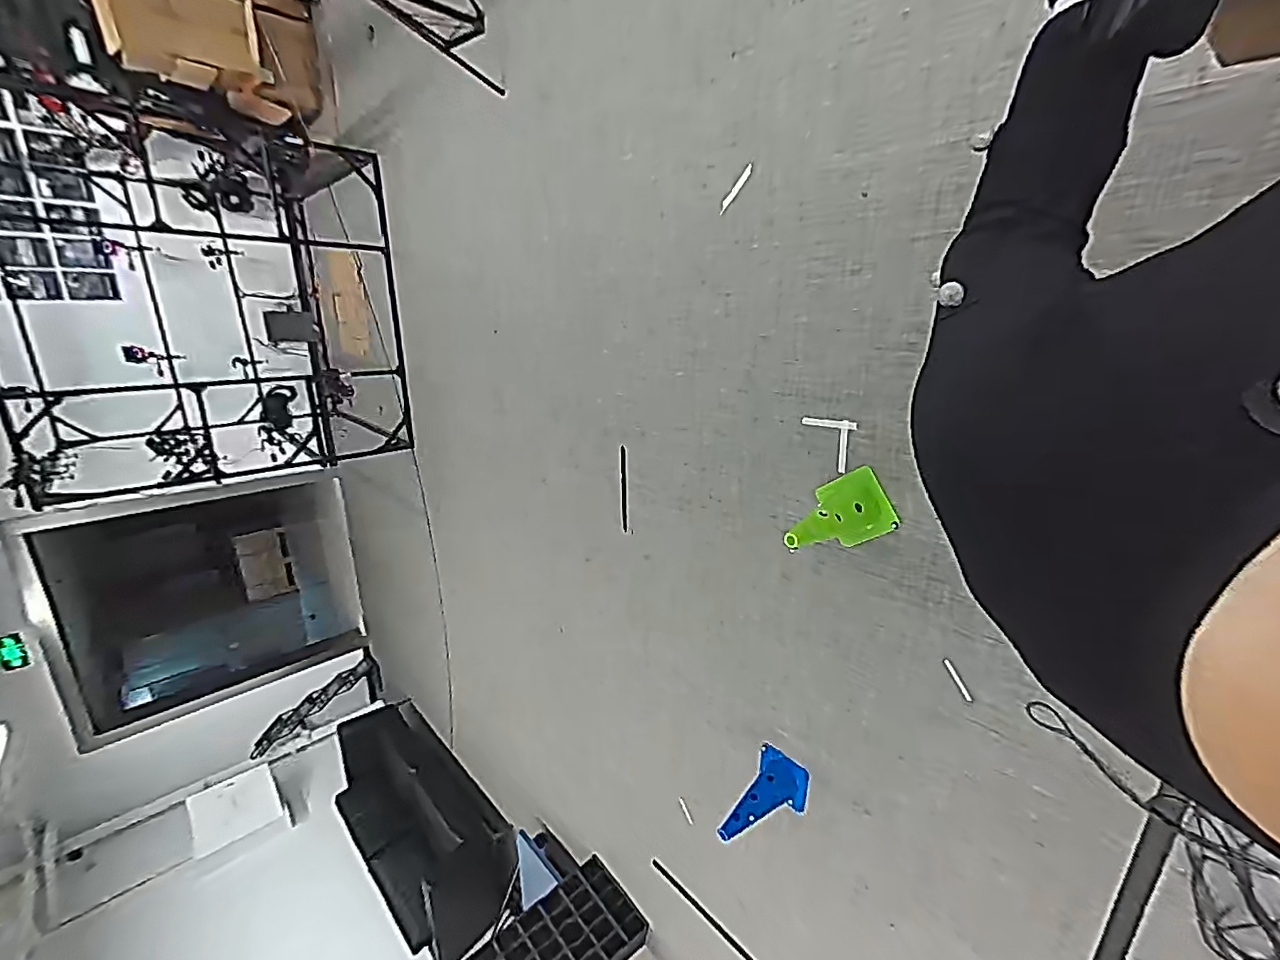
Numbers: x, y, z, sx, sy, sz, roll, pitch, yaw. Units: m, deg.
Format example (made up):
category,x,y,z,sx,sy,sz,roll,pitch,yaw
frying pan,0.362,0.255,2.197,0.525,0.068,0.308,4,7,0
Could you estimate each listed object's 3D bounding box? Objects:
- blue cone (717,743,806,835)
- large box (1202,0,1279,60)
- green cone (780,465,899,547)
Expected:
category,x,y,z,sx,sy,sz,roll,pitch,yaw
blue cone,0.417,1.146,1.933,0.192,0.380,0.193,22,117,44
large box,0.565,-0.447,0.230,0.408,0.320,0.320,19,123,43
green cone,0.509,0.111,1.484,0.202,0.368,0.200,-38,72,49
